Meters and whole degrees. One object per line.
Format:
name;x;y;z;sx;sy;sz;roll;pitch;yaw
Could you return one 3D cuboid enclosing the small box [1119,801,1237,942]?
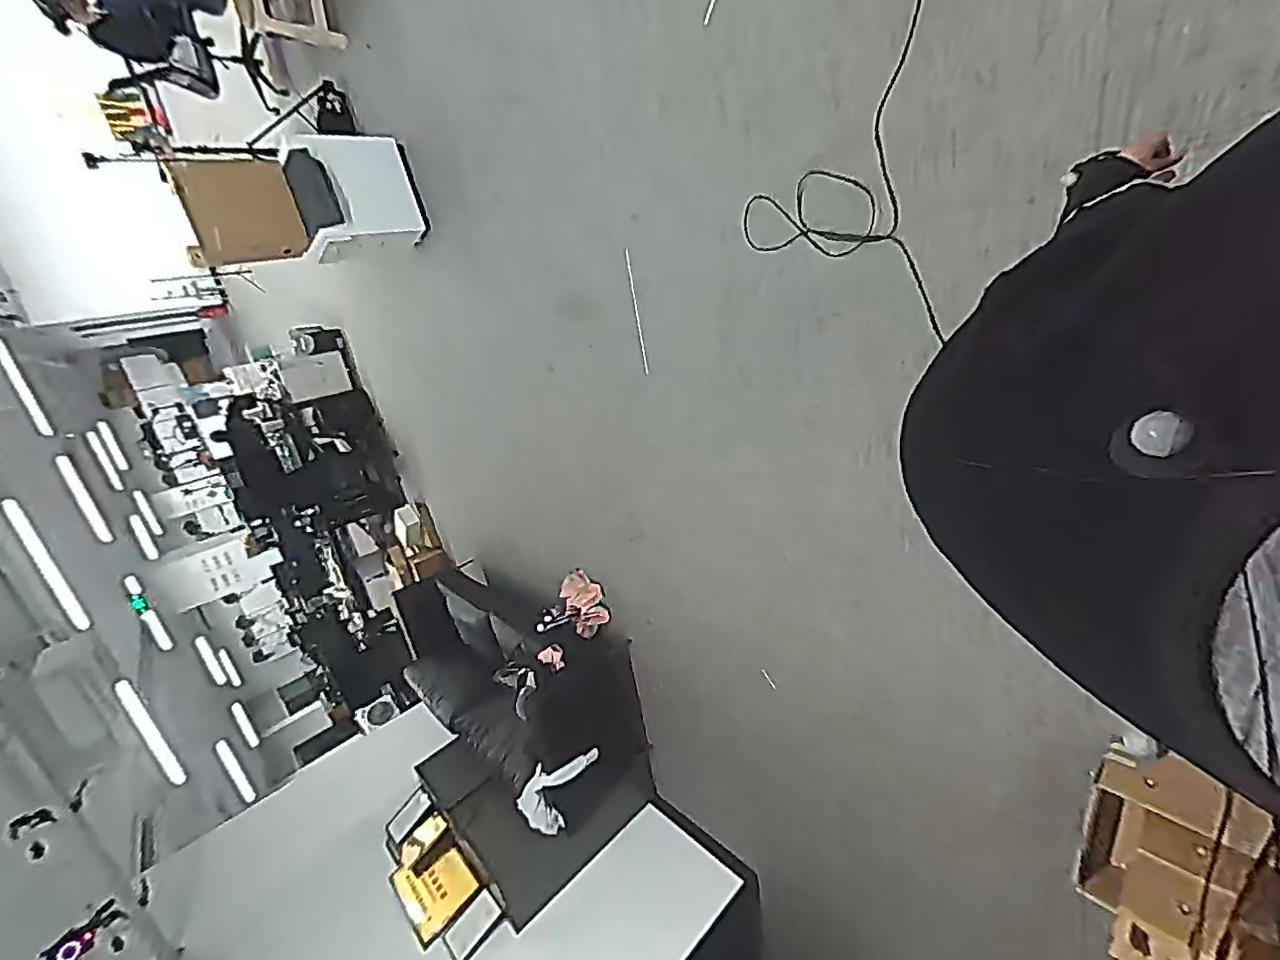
small box;1.275;0.914;1.283;0.179;0.176;0.168;11;117;45
